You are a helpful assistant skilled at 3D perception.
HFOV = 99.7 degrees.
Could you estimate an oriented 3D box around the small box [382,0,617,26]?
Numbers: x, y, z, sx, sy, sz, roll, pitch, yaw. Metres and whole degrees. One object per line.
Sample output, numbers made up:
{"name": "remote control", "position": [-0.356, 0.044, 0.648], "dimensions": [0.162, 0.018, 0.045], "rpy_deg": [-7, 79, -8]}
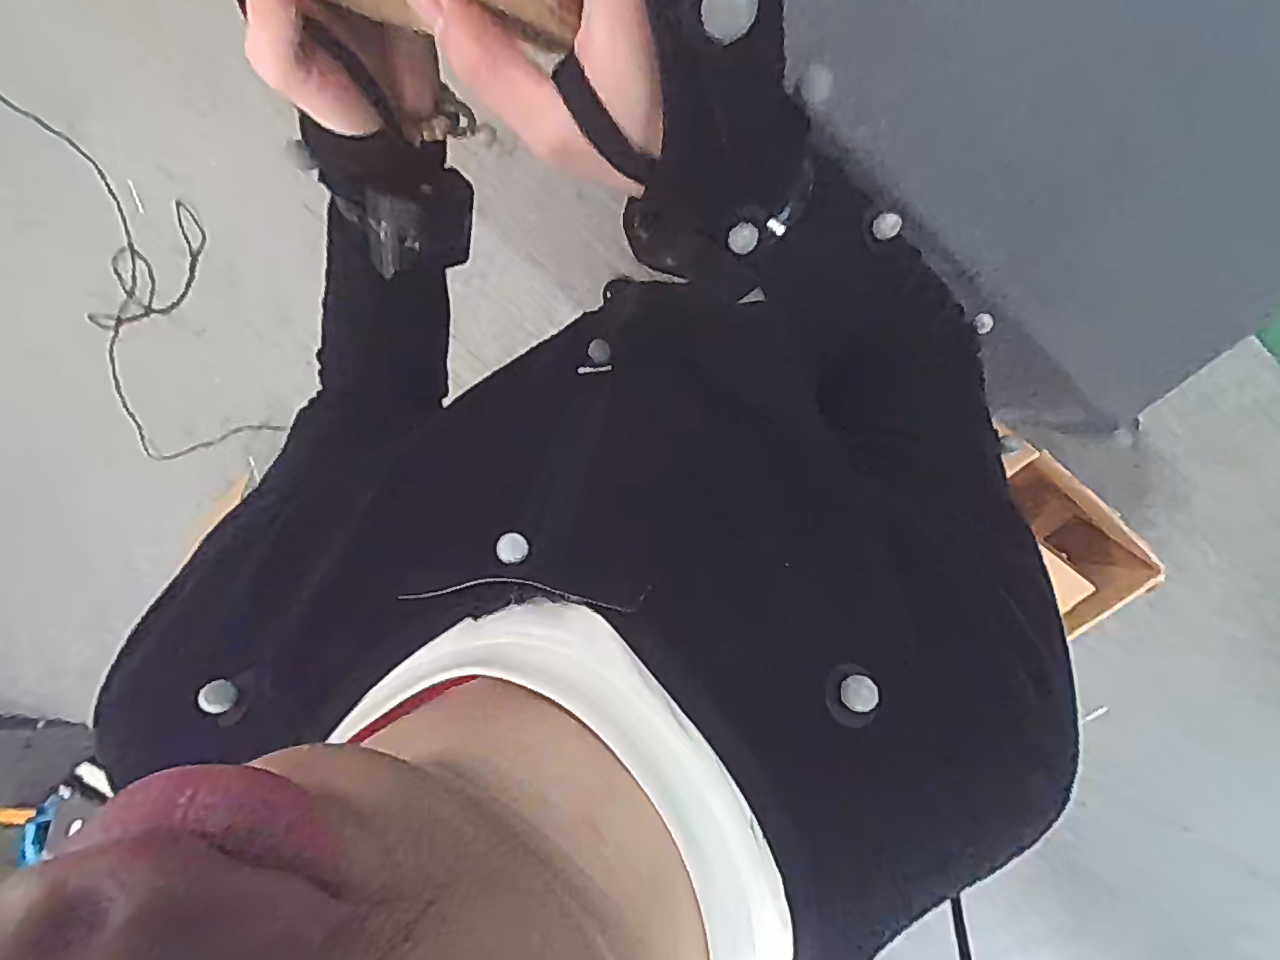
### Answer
{"name": "small box", "position": [-0.095, -0.251, 0.123], "dimensions": [0.179, 0.168, 0.176], "rpy_deg": [30, 114, 24]}
